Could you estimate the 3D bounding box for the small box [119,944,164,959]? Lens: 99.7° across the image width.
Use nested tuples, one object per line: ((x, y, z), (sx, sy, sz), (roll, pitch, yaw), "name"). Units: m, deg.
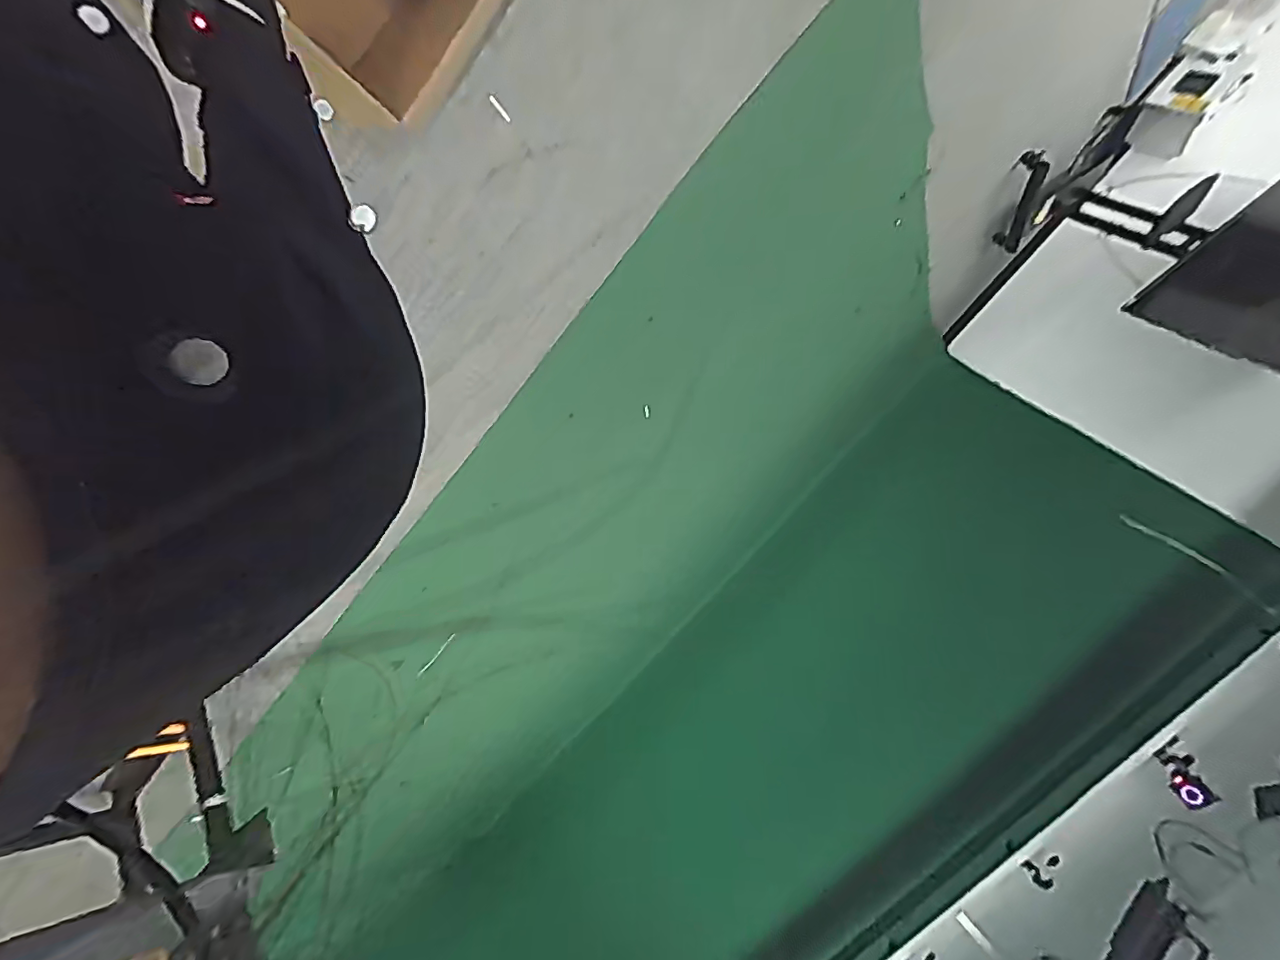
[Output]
((-1.328, 1.339, 1.365), (0.179, 0.176, 0.168), (-49, 149, 10), "small box")
